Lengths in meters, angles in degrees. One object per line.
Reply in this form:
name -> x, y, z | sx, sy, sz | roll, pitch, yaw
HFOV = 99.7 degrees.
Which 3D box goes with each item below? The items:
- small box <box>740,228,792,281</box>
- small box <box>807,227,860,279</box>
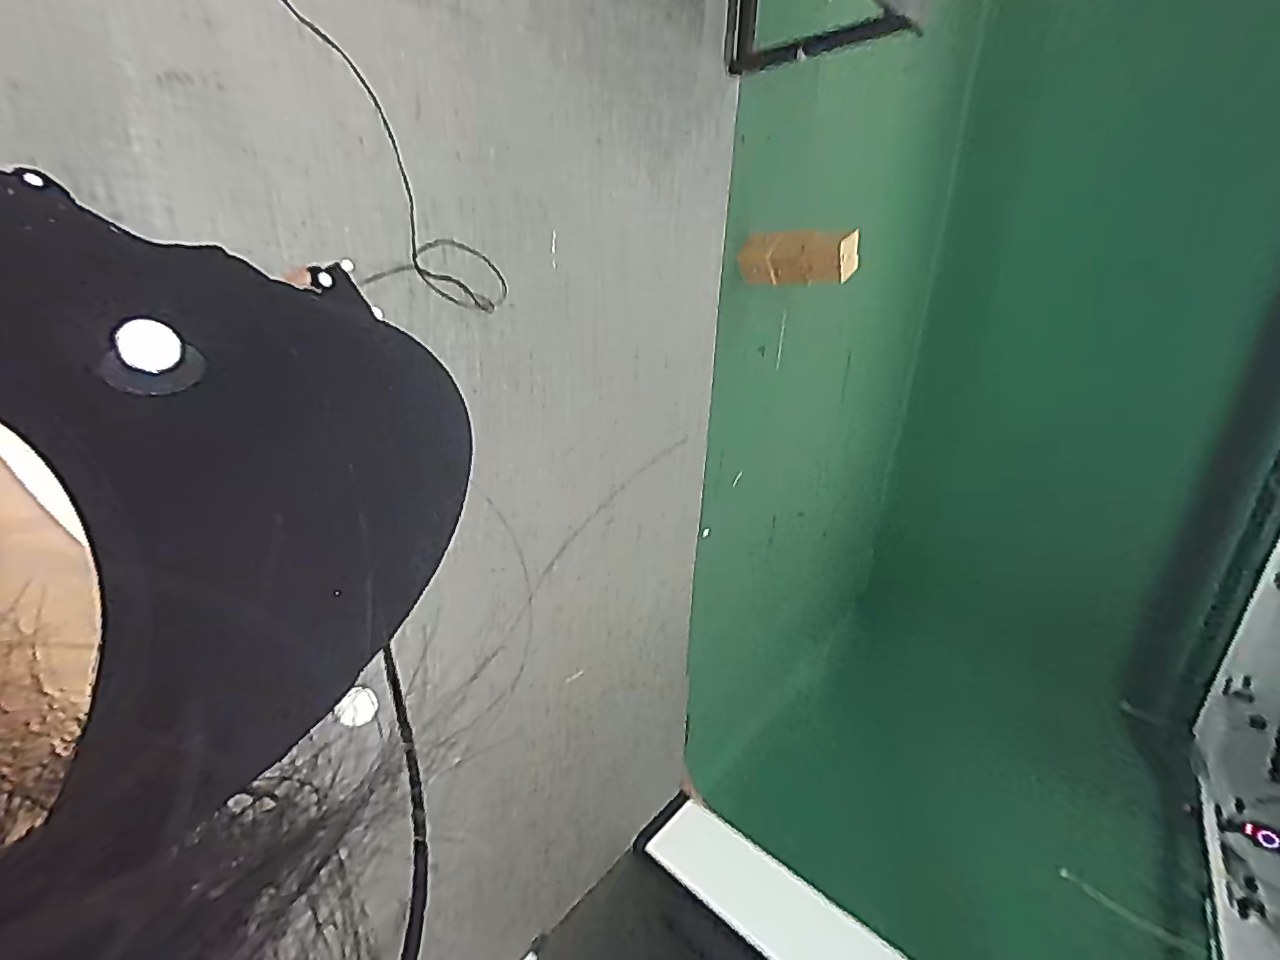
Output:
small box -> 0.594, -1.068, 2.569 | 0.179, 0.176, 0.168 | -58, 139, -17
small box -> 0.850, -0.999, 2.373 | 0.179, 0.176, 0.168 | -43, 133, -31
